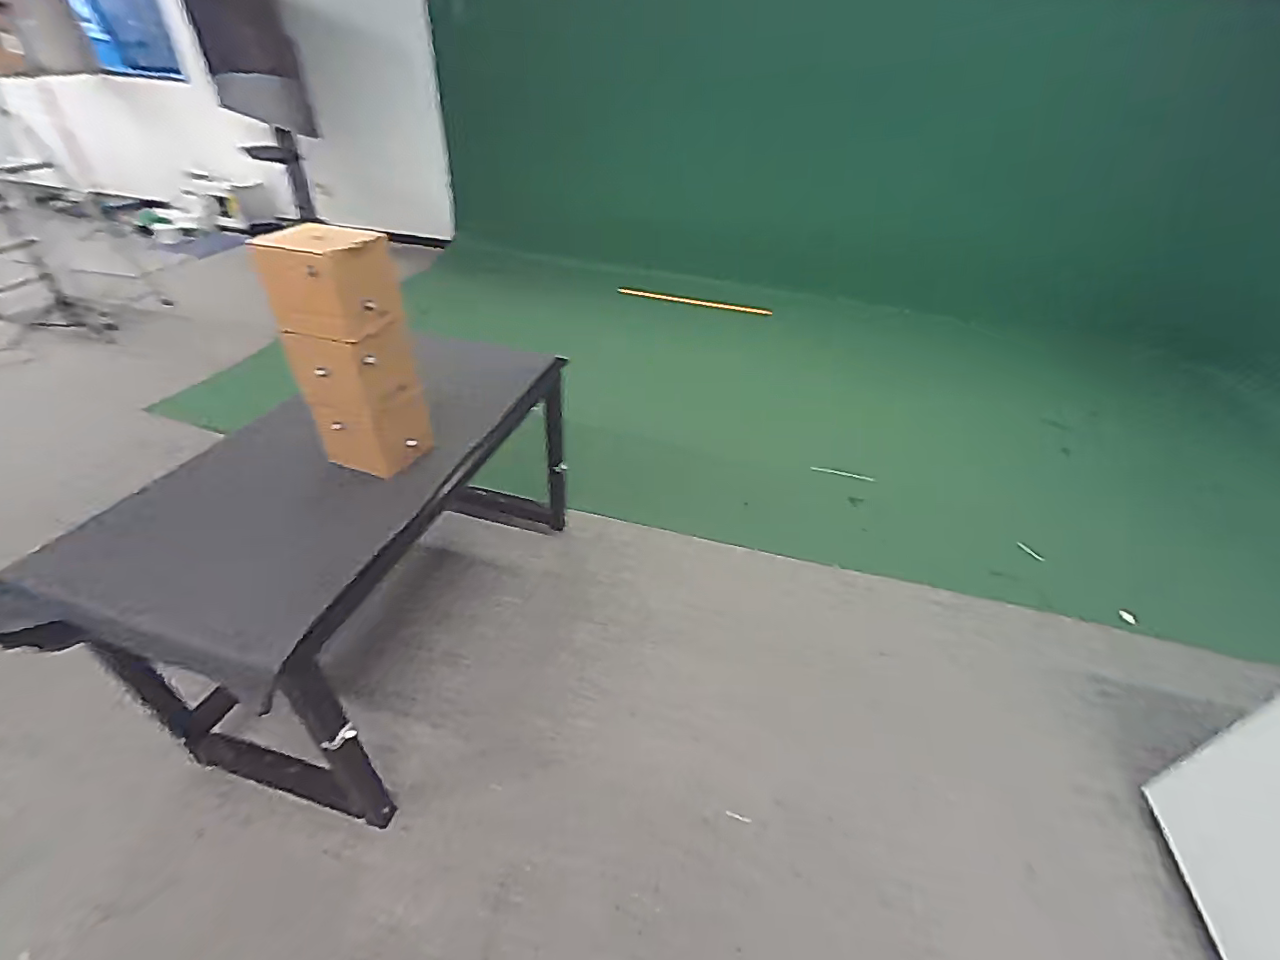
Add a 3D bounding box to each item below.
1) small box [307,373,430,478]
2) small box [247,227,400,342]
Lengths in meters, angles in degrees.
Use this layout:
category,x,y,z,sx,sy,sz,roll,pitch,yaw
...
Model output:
category,x,y,z,sx,sy,sz,roll,pitch,yaw
small box,-0.623,-0.126,1.261,0.179,0.176,0.168,15,39,14
small box,-0.609,-0.385,1.064,0.179,0.176,0.168,12,38,11
